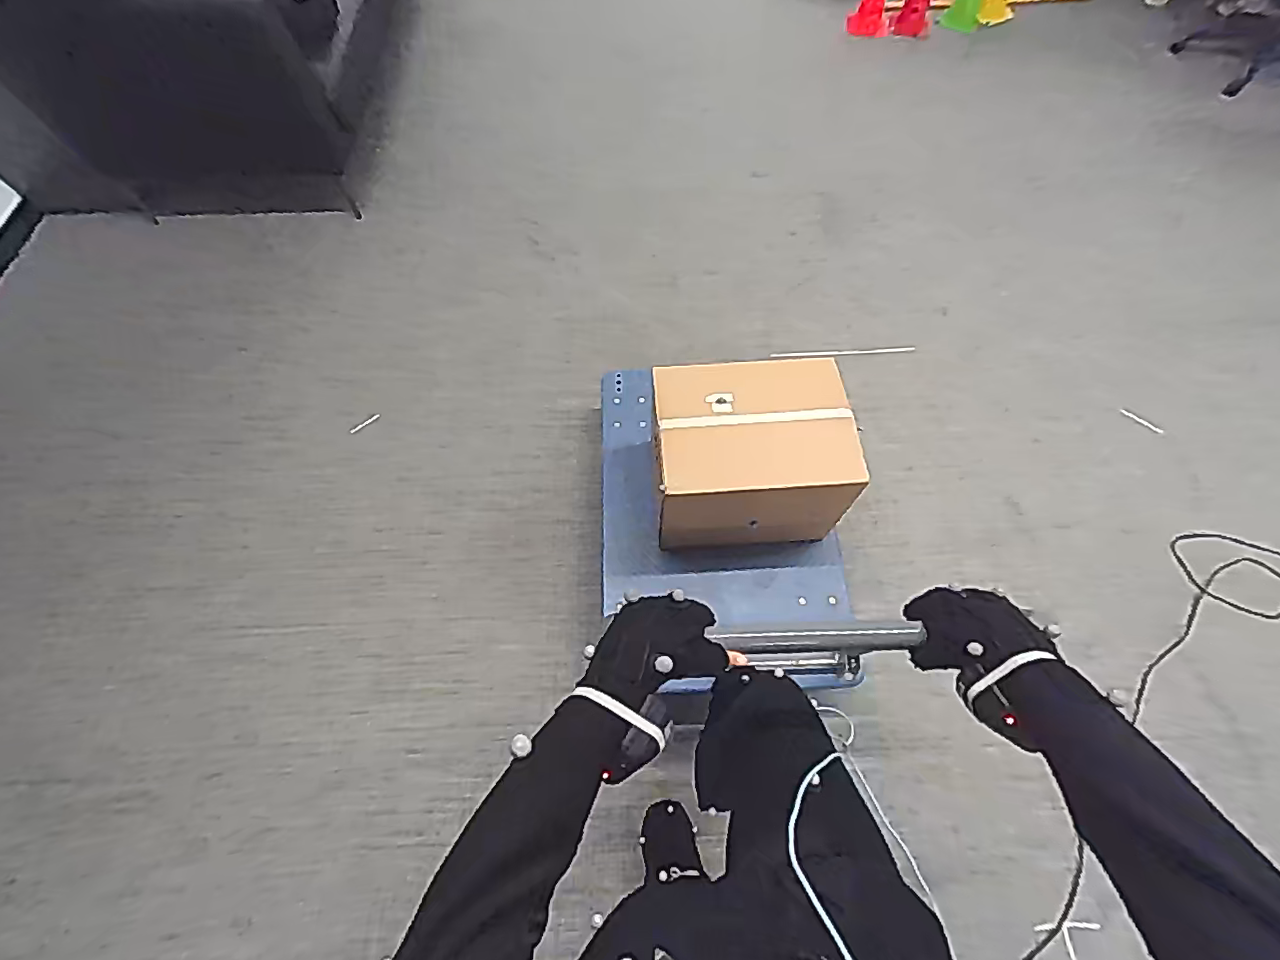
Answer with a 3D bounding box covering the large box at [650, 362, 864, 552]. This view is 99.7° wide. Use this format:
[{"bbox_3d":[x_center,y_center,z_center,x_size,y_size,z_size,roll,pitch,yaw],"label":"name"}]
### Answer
[{"bbox_3d":[0.240,-0.040,1.264,0.408,0.320,0.320,-5,62,-1],"label":"large box"}]
